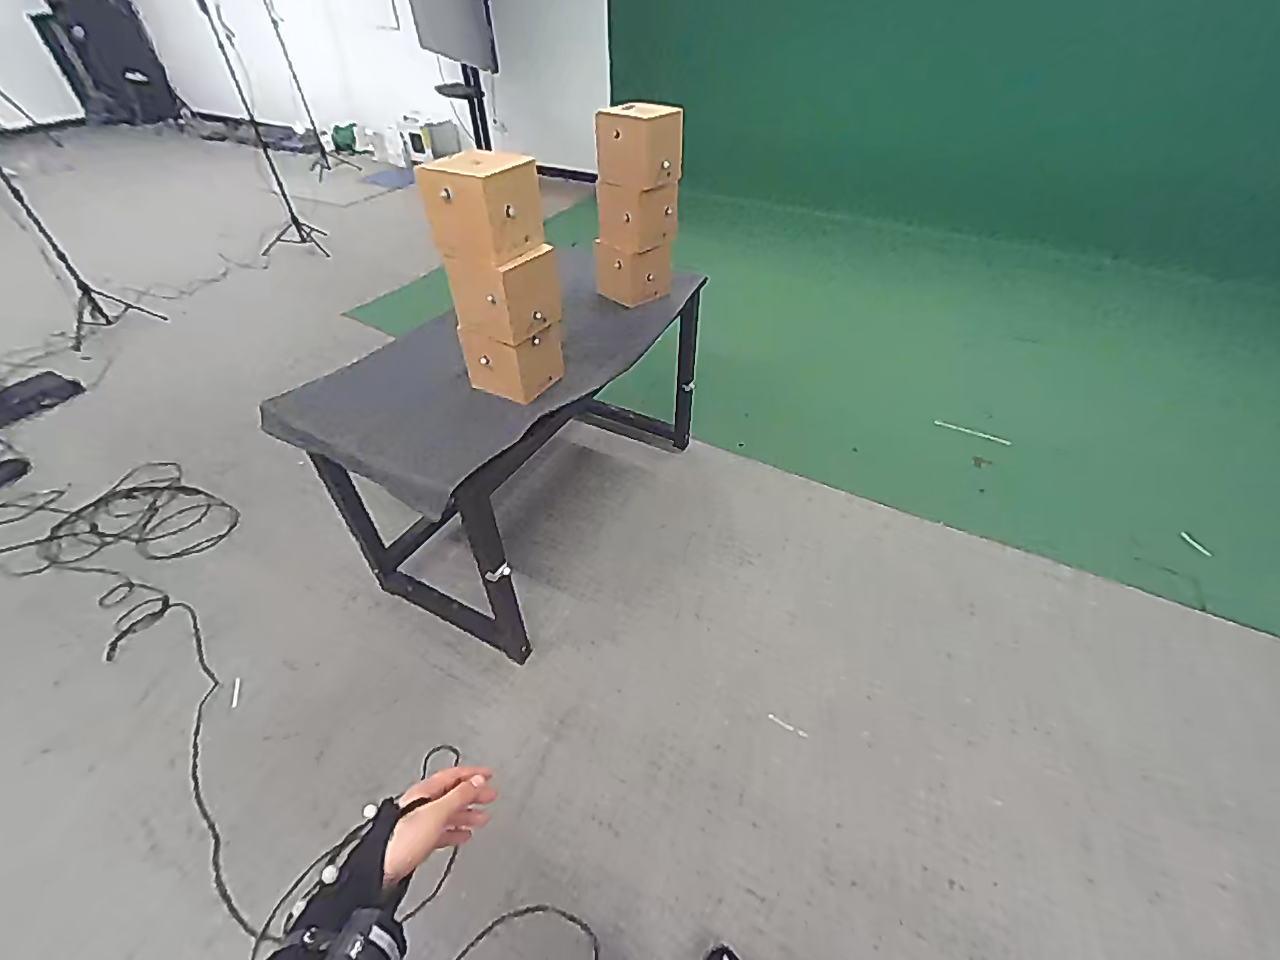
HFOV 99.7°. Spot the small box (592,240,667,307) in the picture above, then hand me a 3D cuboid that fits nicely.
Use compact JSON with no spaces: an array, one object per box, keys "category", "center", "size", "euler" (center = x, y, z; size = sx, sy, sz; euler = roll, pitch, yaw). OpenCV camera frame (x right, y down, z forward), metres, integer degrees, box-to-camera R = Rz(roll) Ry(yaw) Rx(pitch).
[{"category":"small box","center":[-0.029,-0.659,1.688],"size":[0.168,0.176,0.179],"euler":[-31,49,-28]}]

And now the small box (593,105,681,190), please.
[{"category":"small box","center":[-0.008,-0.909,1.477],"size":[0.179,0.176,0.168],"euler":[27,50,27]}]

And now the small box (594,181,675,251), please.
[{"category":"small box","center":[-0.014,-0.786,1.587],"size":[0.179,0.176,0.168],"euler":[32,51,32]}]

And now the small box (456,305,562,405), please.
[{"category":"small box","center":[-0.313,-0.305,1.323],"size":[0.179,0.176,0.168],"euler":[20,47,21]}]

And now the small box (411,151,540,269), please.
[{"category":"small box","center":[-0.324,-0.551,1.106],"size":[0.179,0.176,0.168],"euler":[20,47,21]}]
